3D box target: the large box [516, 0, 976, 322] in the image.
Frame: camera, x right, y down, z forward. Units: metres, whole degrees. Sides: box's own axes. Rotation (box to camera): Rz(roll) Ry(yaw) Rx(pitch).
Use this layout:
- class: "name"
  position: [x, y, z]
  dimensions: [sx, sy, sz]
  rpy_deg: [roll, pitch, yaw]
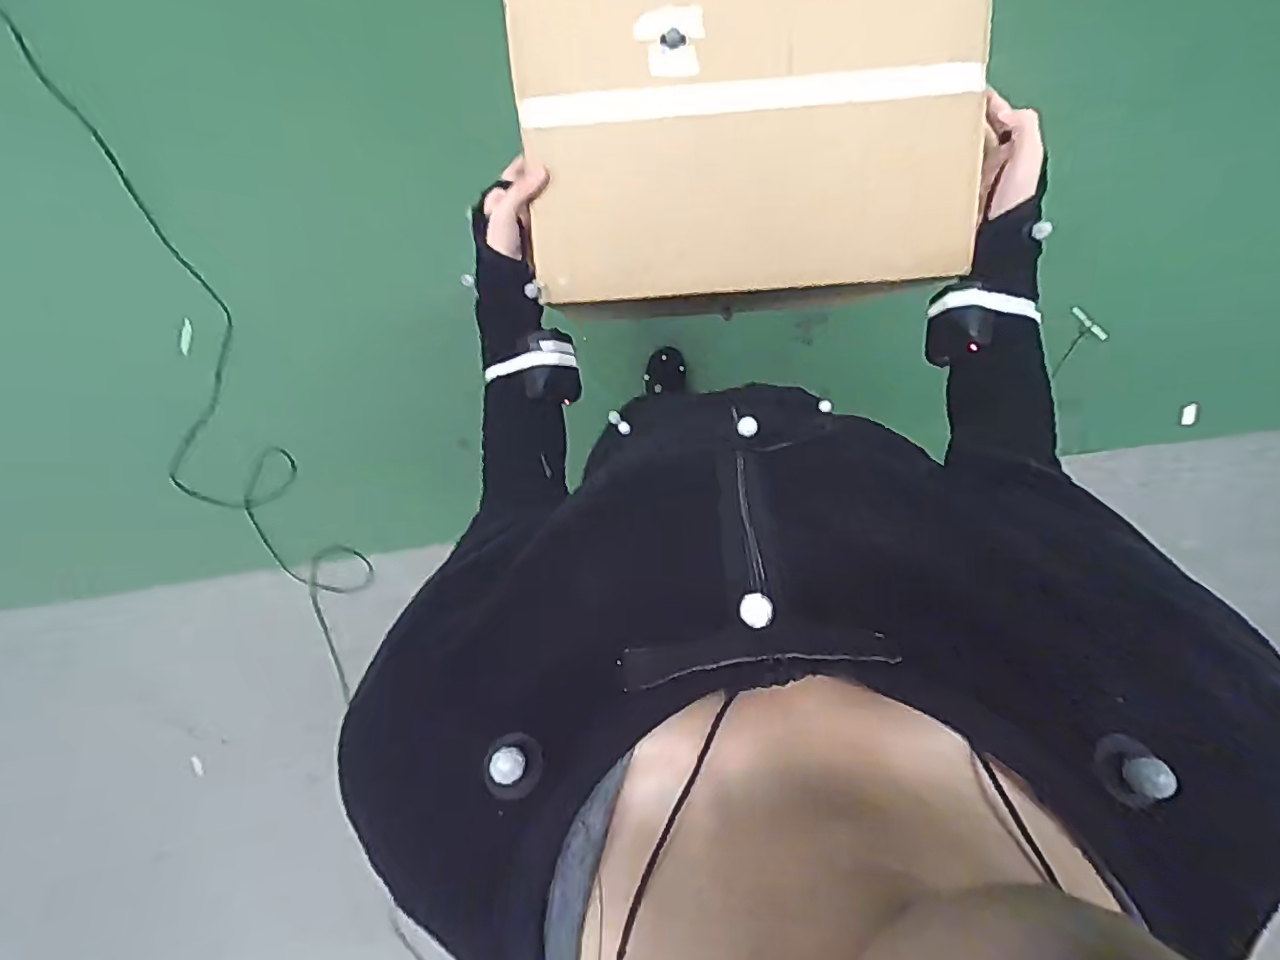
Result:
- class: "large box"
  position: [0.101, -0.363, 0.634]
  dimensions: [0.408, 0.320, 0.320]
  rpy_deg: [-3, 102, 2]
